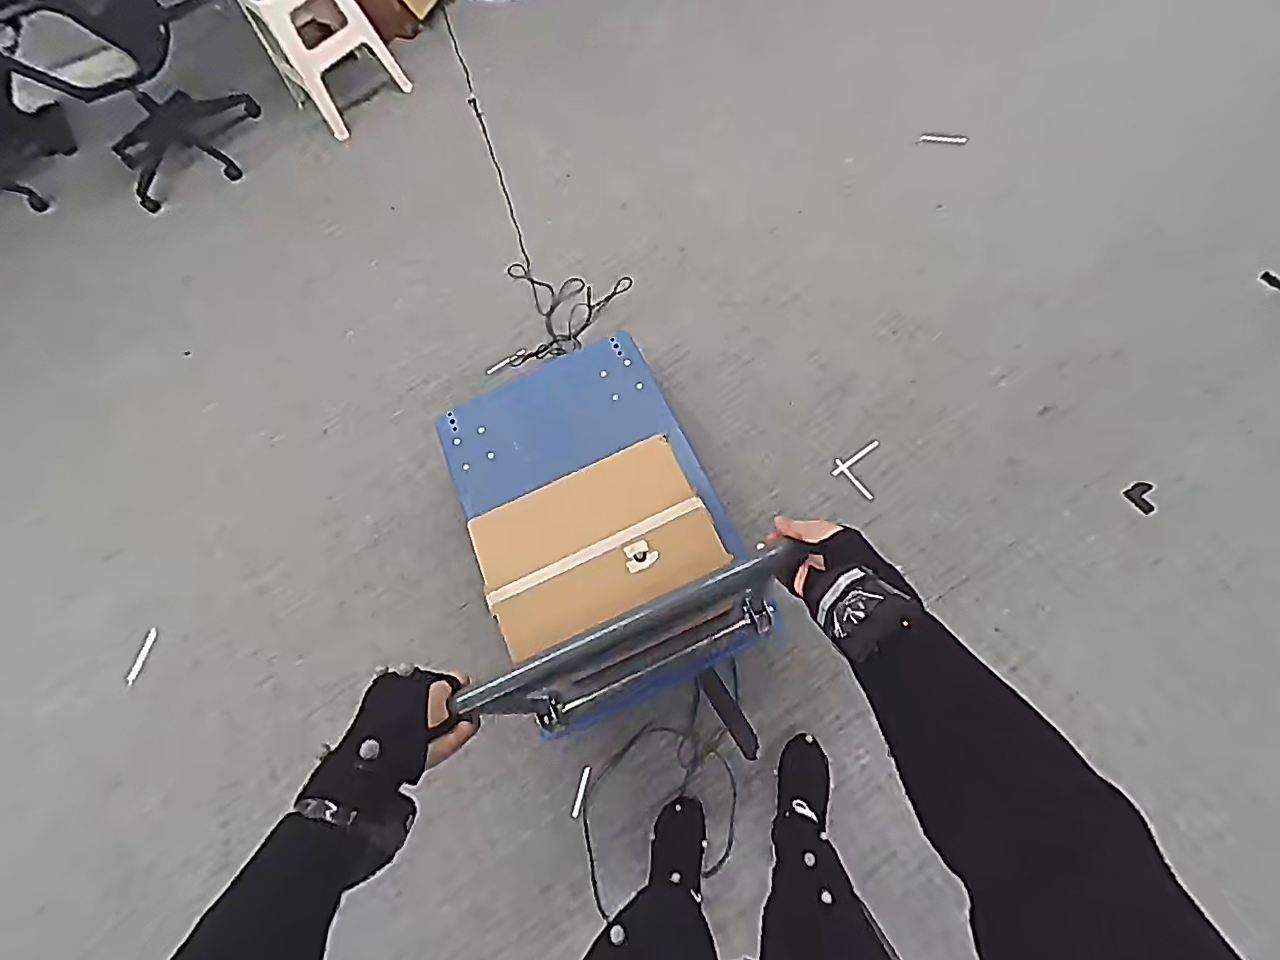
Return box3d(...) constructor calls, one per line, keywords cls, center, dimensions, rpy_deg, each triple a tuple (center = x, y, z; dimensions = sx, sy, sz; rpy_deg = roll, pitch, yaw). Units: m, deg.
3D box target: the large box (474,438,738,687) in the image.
box3d(cls="large box", center=(-0.055, 0.185, 1.096), dimensions=(0.408, 0.320, 0.320), rpy_deg=(-25, 69, -3))
